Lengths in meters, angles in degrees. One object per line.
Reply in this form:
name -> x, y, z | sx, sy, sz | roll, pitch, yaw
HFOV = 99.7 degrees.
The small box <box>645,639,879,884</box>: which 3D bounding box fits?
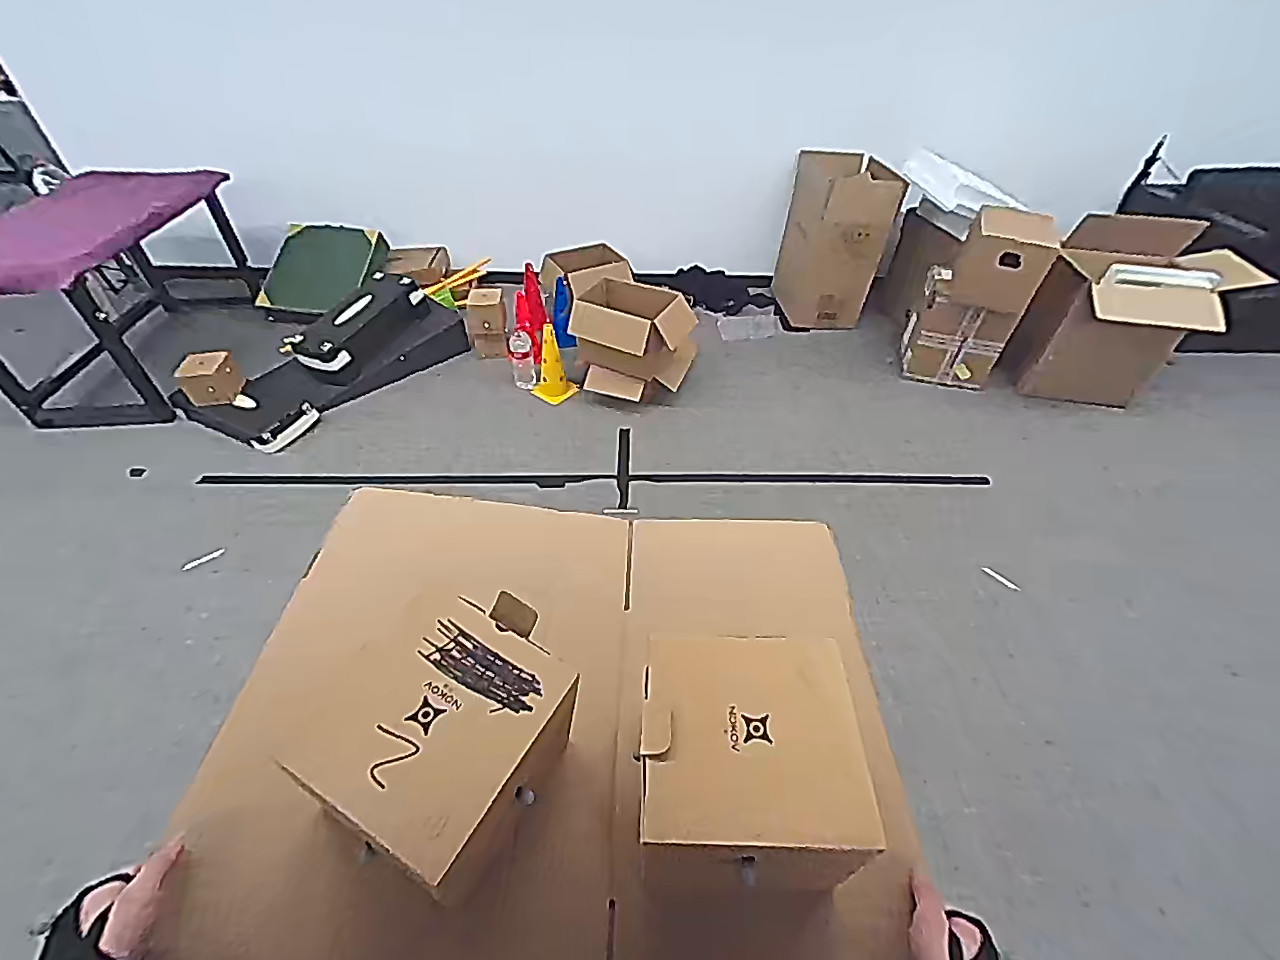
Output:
small box -> 0.095, 0.266, 0.511 | 0.179, 0.176, 0.168 | -1, 46, 2
